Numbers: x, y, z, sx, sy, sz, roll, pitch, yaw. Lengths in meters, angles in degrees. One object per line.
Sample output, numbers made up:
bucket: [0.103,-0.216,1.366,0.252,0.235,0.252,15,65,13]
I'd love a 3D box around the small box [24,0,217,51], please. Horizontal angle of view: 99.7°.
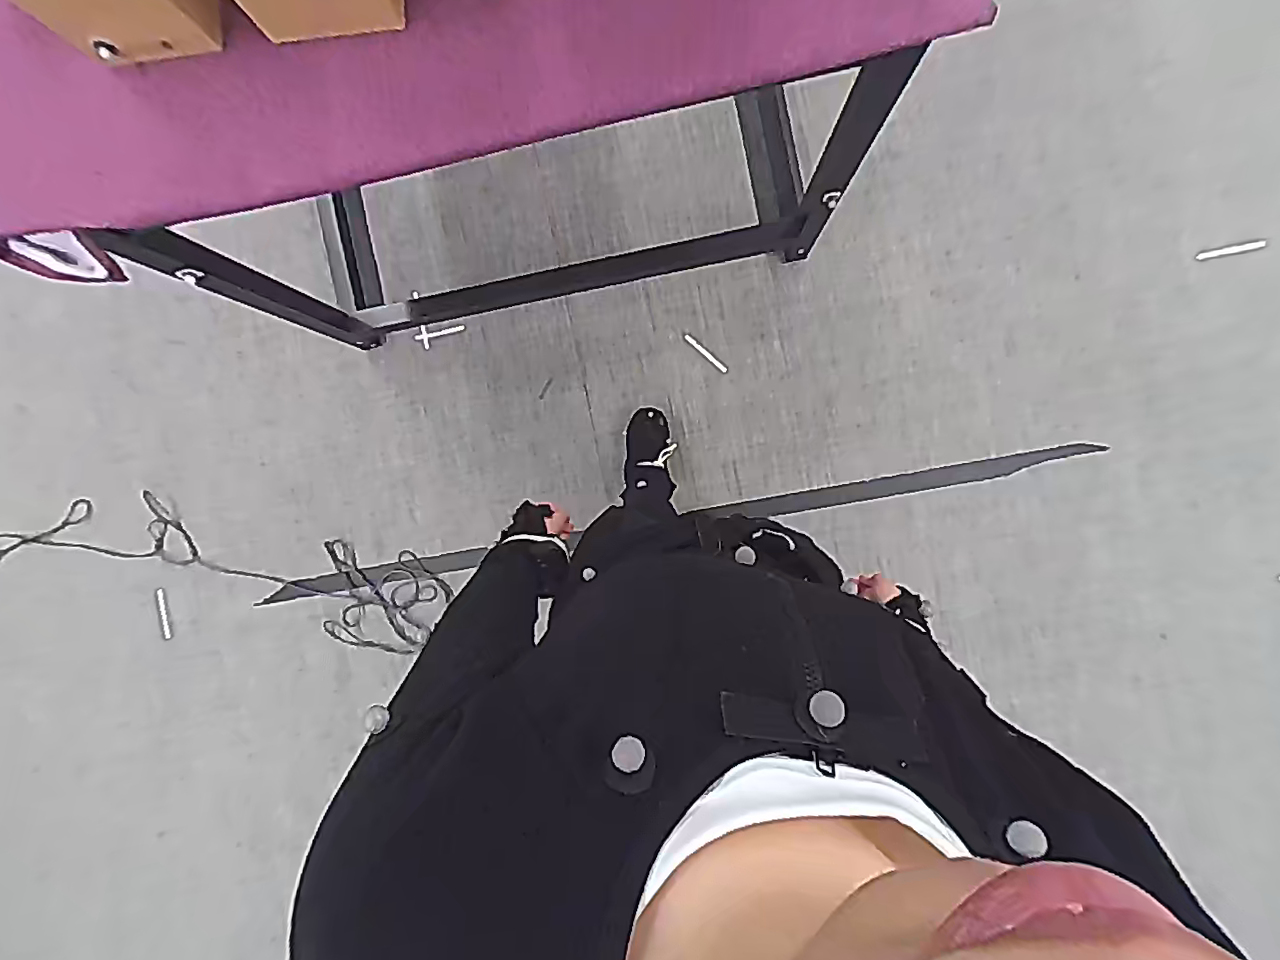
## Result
small box: [-0.624,-0.630,0.612,0.168,0.176,0.179,-5,91,3]
